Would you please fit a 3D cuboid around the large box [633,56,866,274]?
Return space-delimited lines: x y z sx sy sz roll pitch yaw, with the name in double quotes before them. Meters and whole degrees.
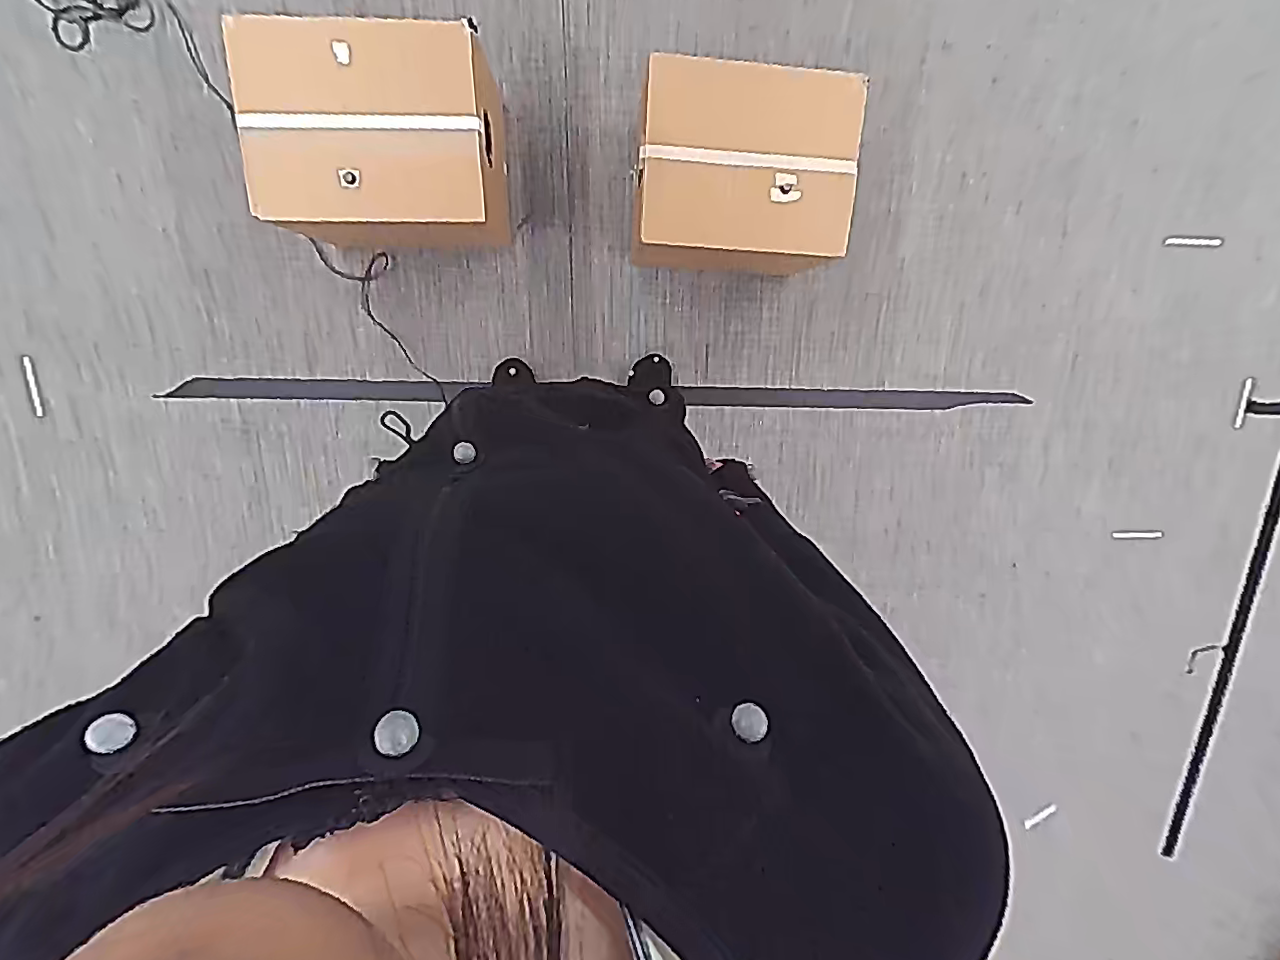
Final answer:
"large box" 0.197 -0.631 1.152 0.408 0.320 0.320 2 104 -6
